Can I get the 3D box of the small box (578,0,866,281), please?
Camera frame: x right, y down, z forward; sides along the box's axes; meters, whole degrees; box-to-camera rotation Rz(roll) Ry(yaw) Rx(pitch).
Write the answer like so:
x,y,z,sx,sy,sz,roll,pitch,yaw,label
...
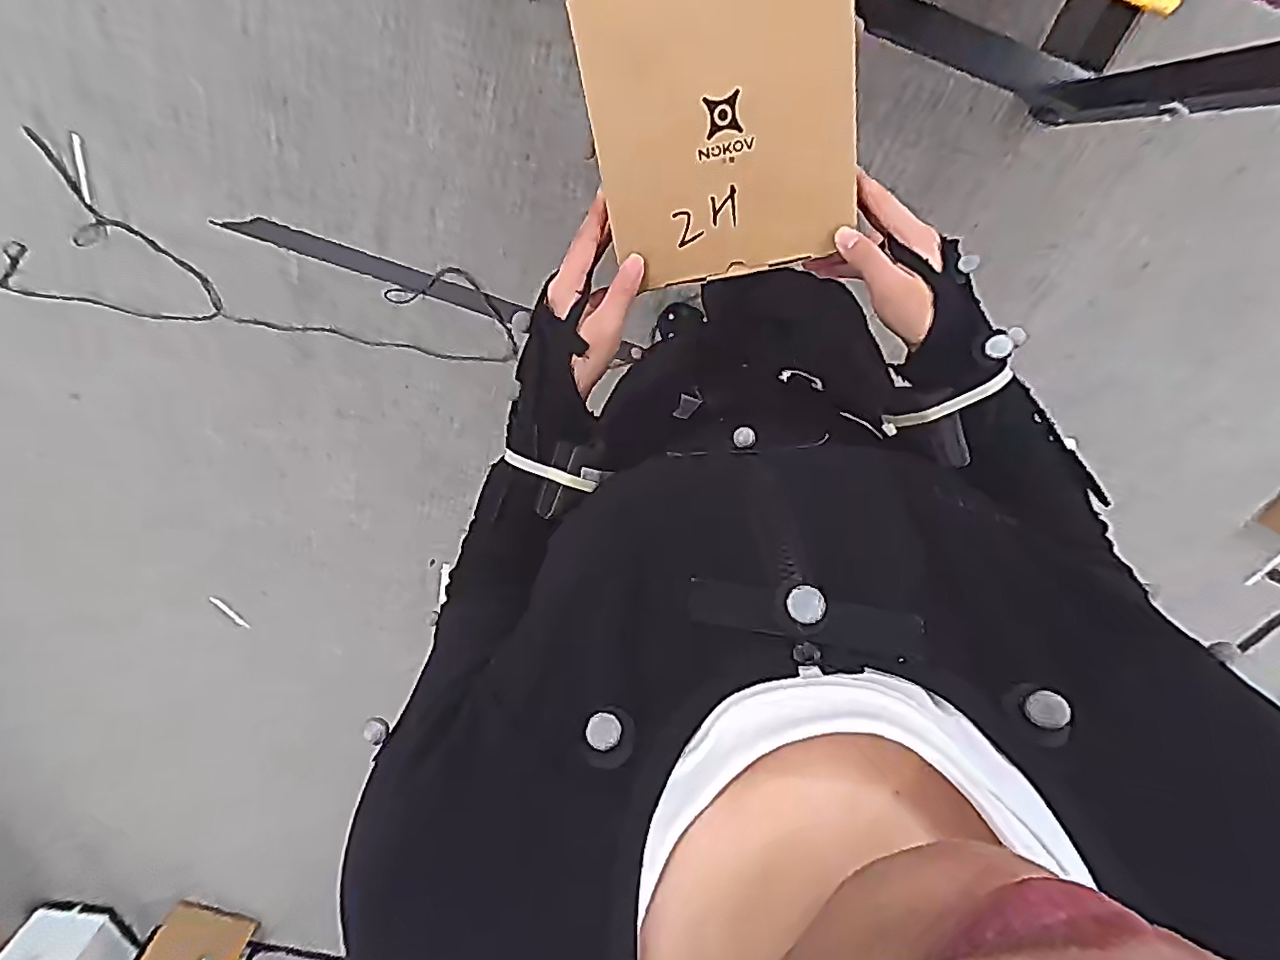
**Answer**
x,y,z,sx,sy,sz,roll,pitch,yaw,label
0.058,-0.262,0.405,0.168,0.176,0.179,-9,117,7,small box
